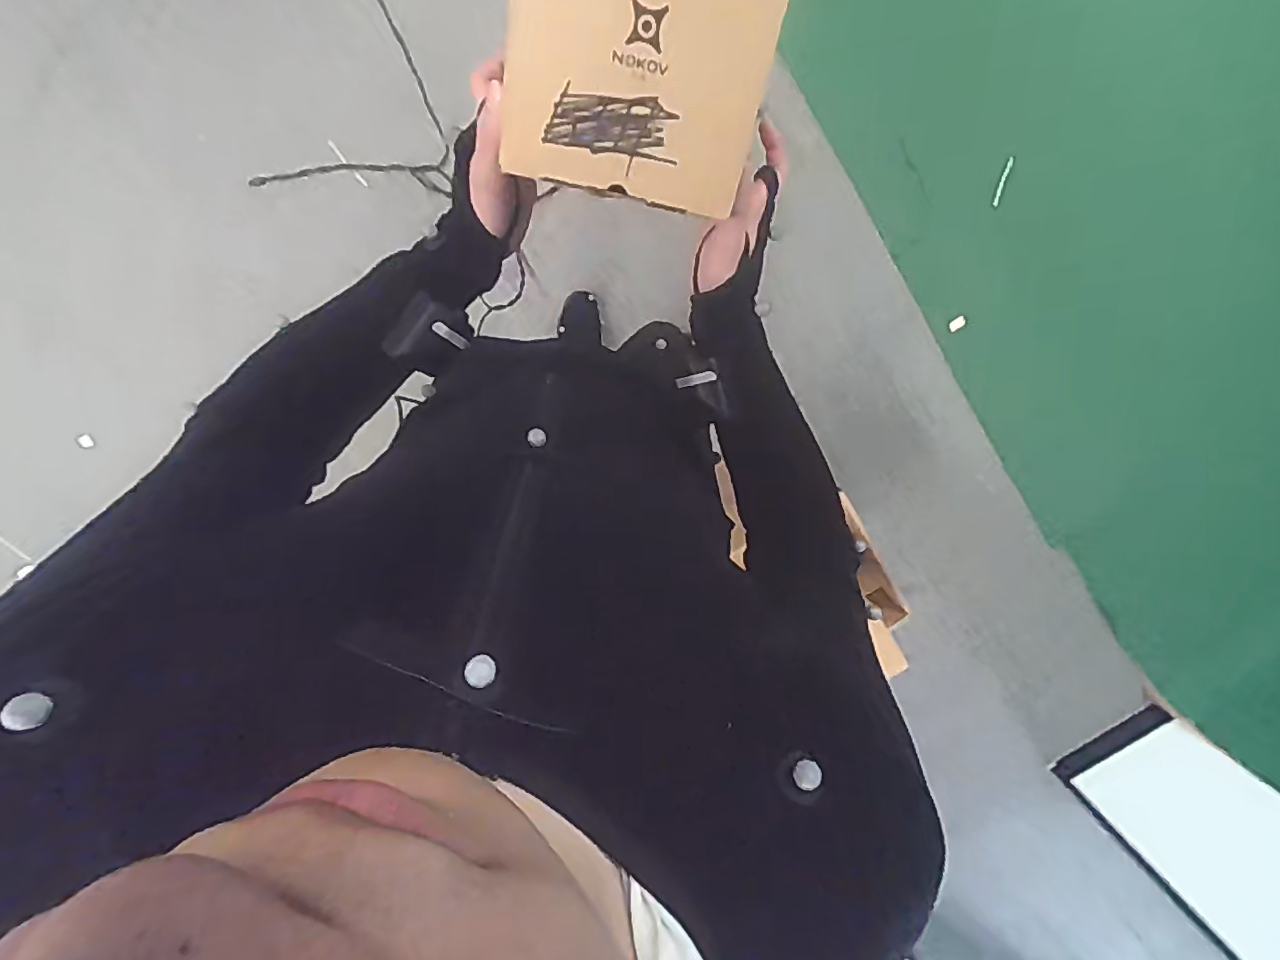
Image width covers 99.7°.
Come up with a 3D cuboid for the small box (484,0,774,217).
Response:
[{"bbox_3d":[-0.008,-0.311,0.391,0.168,0.176,0.179,9,121,-8],"label":"small box"}]
